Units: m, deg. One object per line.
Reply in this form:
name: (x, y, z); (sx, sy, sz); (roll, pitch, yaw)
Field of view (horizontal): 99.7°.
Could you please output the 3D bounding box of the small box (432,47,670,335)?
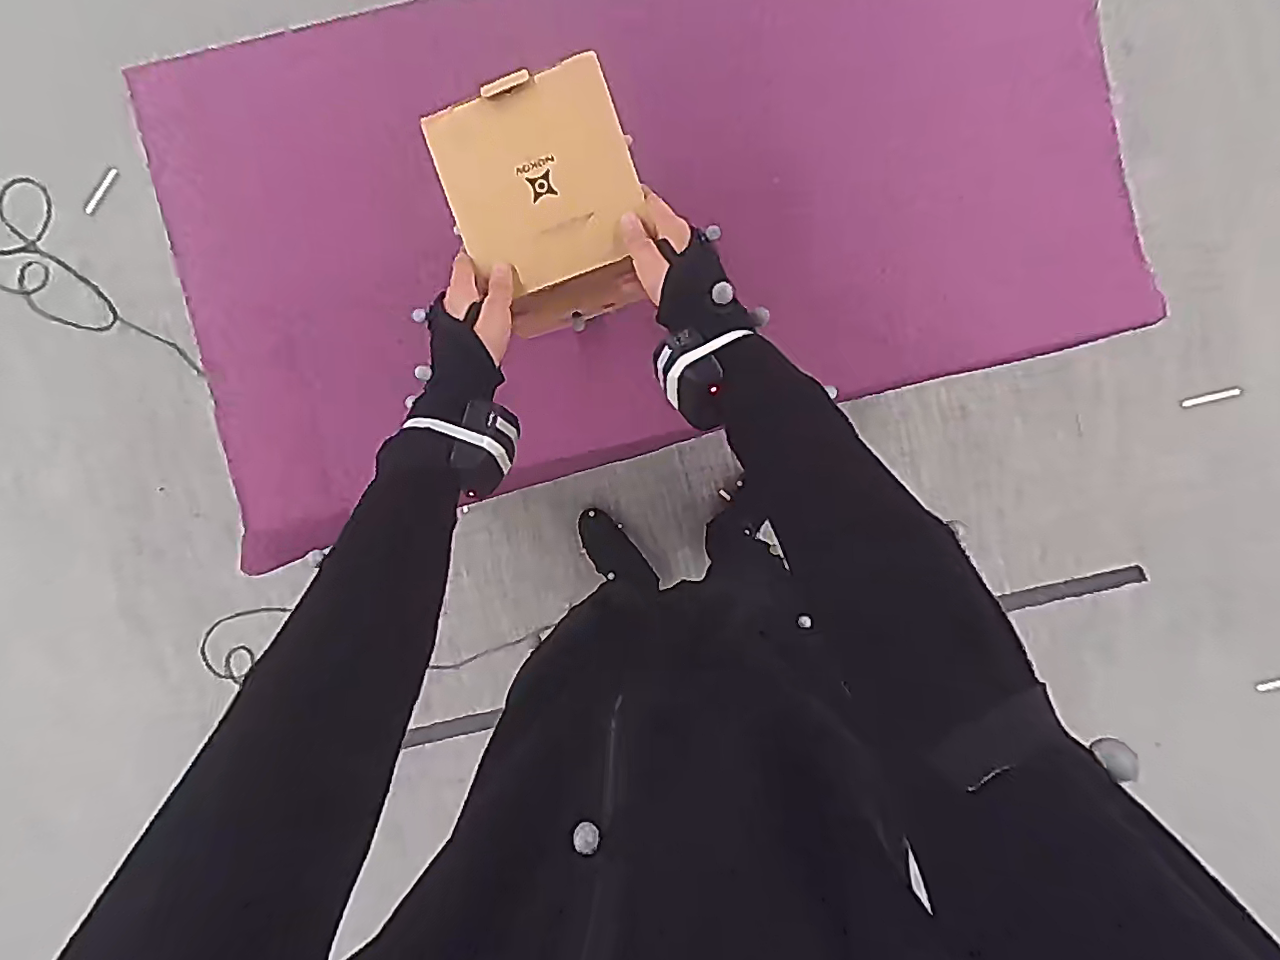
small box: (-0.075, -0.267, 0.544); (0.168, 0.176, 0.179); (-19, 94, 4)
